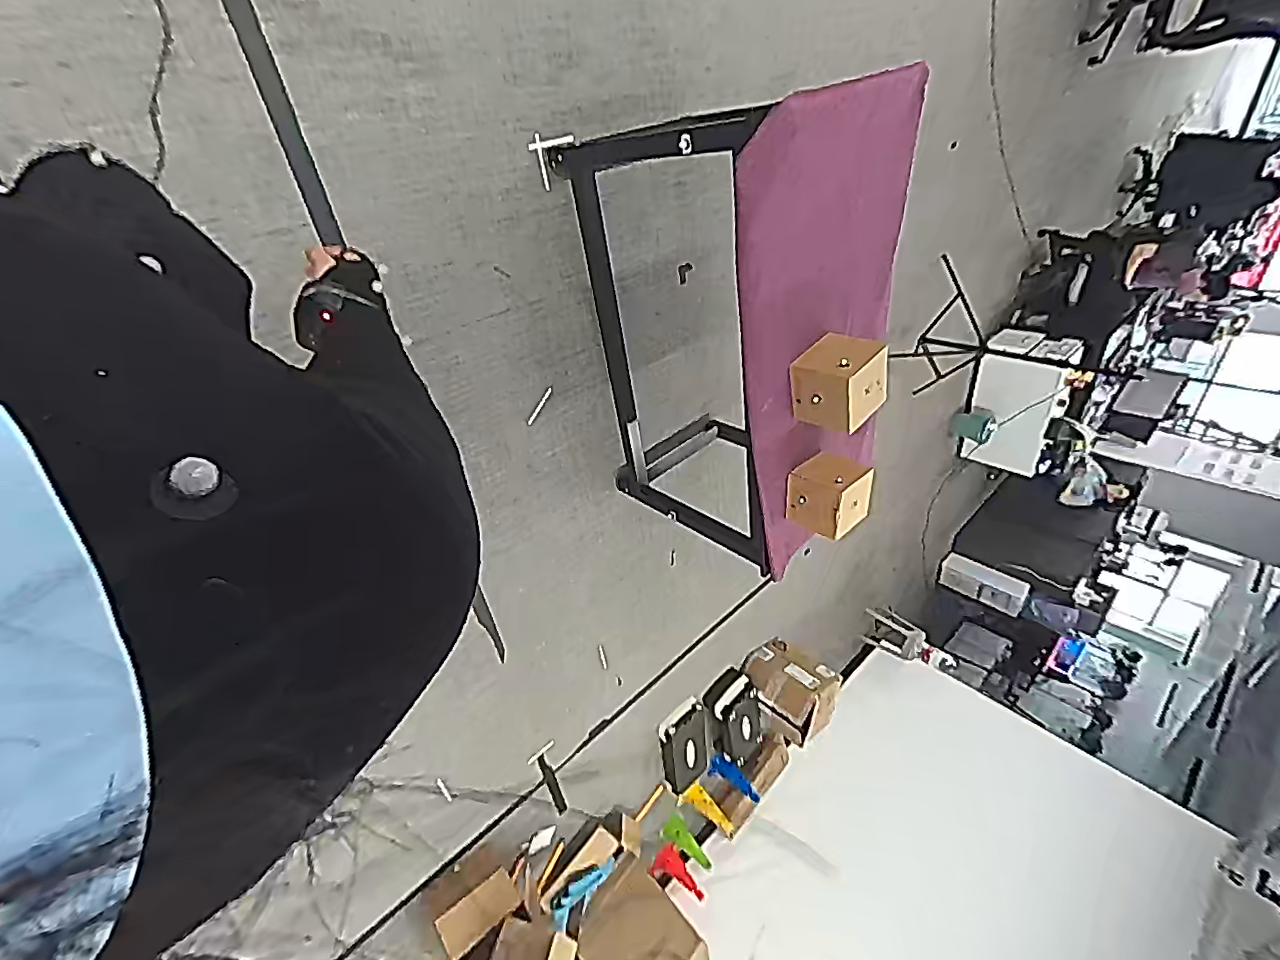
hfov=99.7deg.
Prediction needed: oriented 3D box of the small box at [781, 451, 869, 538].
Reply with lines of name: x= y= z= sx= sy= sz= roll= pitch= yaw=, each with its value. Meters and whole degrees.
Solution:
small box: x=0.535 y=0.035 z=1.571 sx=0.179 sy=0.176 sz=0.168 roll=-29 pitch=128 yaw=-33

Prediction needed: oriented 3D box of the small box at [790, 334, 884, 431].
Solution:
small box: x=0.499 y=-0.254 z=1.385 sx=0.179 sy=0.176 sz=0.168 roll=-39 pitch=134 yaw=-24
